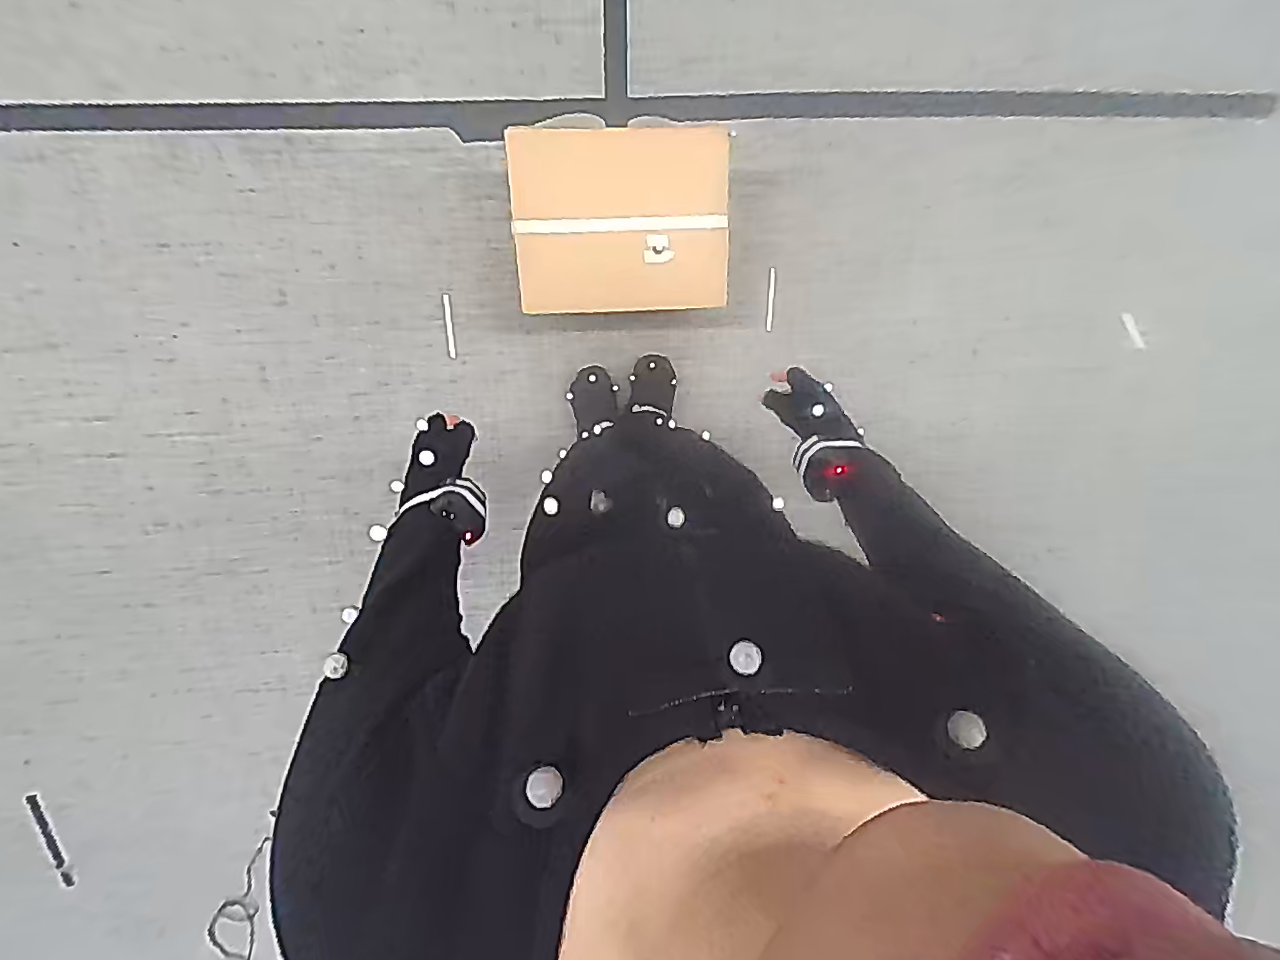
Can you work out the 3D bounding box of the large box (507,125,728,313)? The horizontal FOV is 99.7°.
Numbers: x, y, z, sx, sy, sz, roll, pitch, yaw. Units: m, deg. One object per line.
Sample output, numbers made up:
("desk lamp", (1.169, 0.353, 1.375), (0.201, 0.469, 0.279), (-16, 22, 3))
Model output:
("large box", (-0.047, -0.532, 1.153), (0.408, 0.320, 0.320), (-4, 110, -5))
